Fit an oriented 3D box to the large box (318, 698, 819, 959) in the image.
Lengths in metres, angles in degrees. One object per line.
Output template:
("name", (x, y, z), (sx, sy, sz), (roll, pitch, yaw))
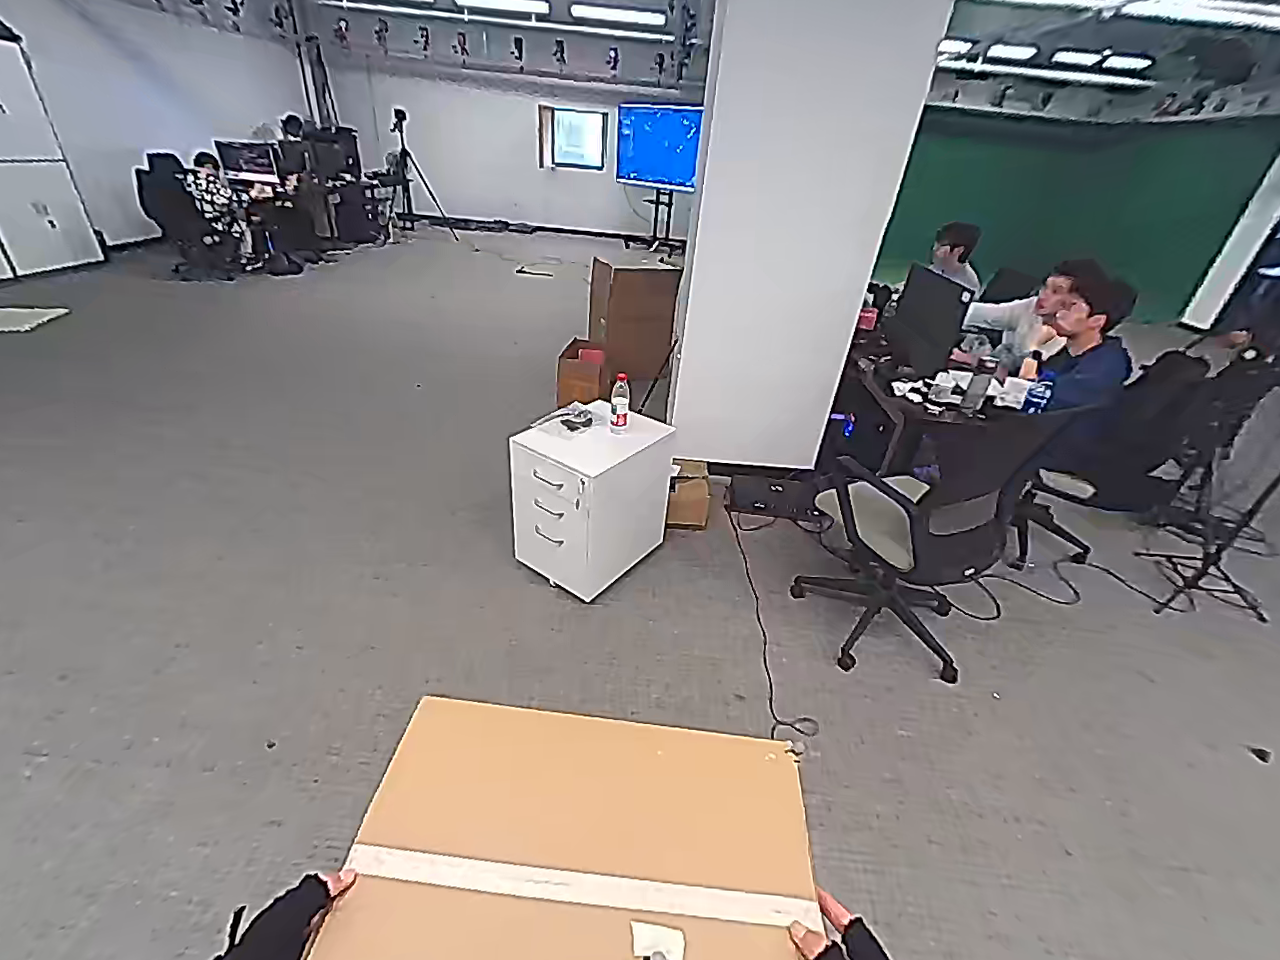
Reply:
("large box", (-0.062, 0.471, 0.560), (0.408, 0.320, 0.320), (7, 35, 1))
